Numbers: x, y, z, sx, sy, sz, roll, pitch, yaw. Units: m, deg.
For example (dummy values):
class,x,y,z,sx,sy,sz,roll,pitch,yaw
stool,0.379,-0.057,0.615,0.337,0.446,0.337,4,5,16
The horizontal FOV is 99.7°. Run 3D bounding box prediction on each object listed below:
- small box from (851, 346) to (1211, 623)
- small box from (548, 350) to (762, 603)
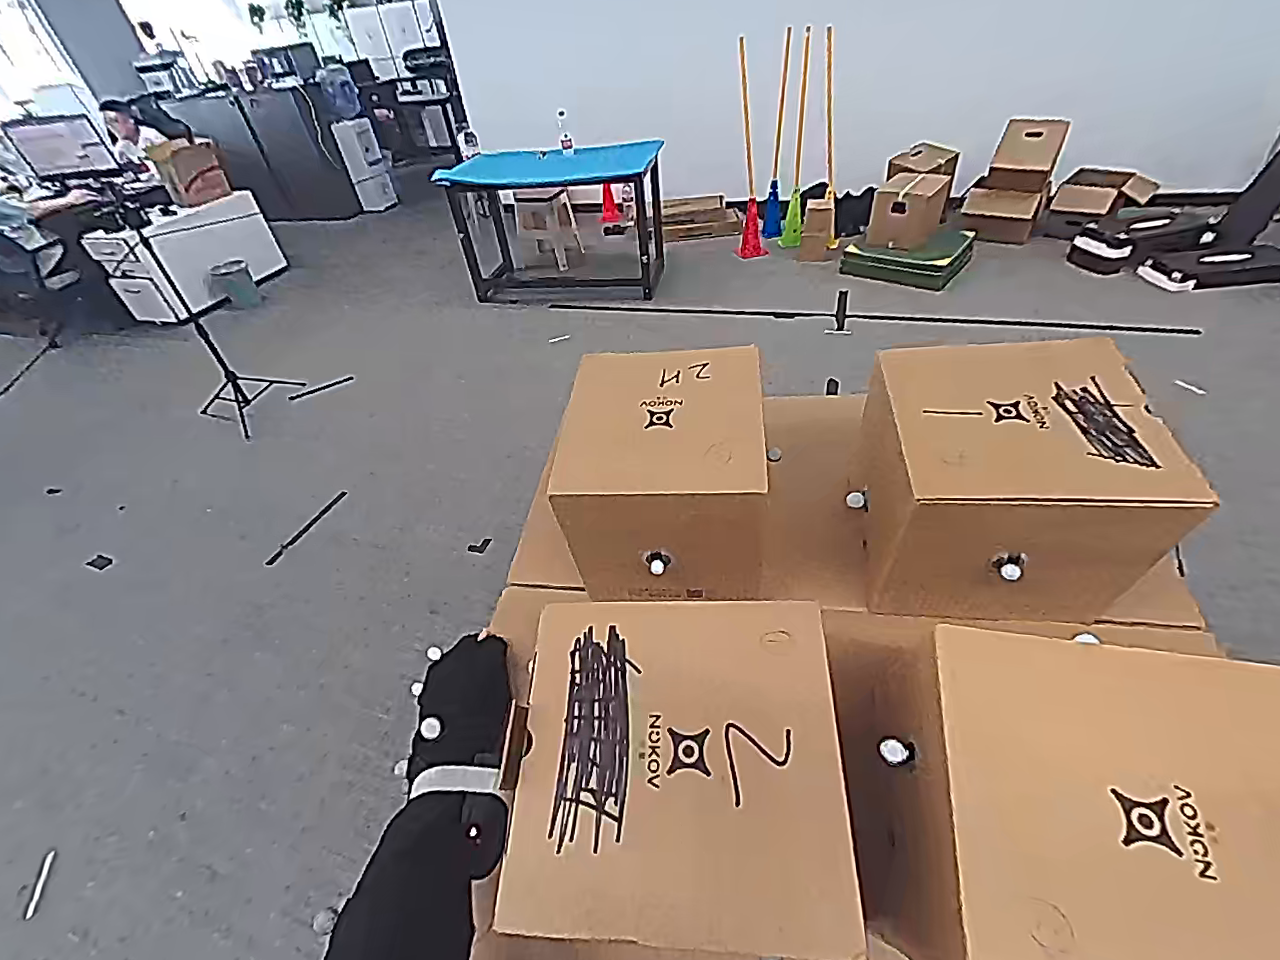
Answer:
class,x,y,z,sx,sy,sz,roll,pitch,yaw
small box,0.287,0.008,0.454,0.179,0.176,0.168,1,50,12
small box,0.030,0.001,0.509,0.168,0.176,0.179,0,49,10
